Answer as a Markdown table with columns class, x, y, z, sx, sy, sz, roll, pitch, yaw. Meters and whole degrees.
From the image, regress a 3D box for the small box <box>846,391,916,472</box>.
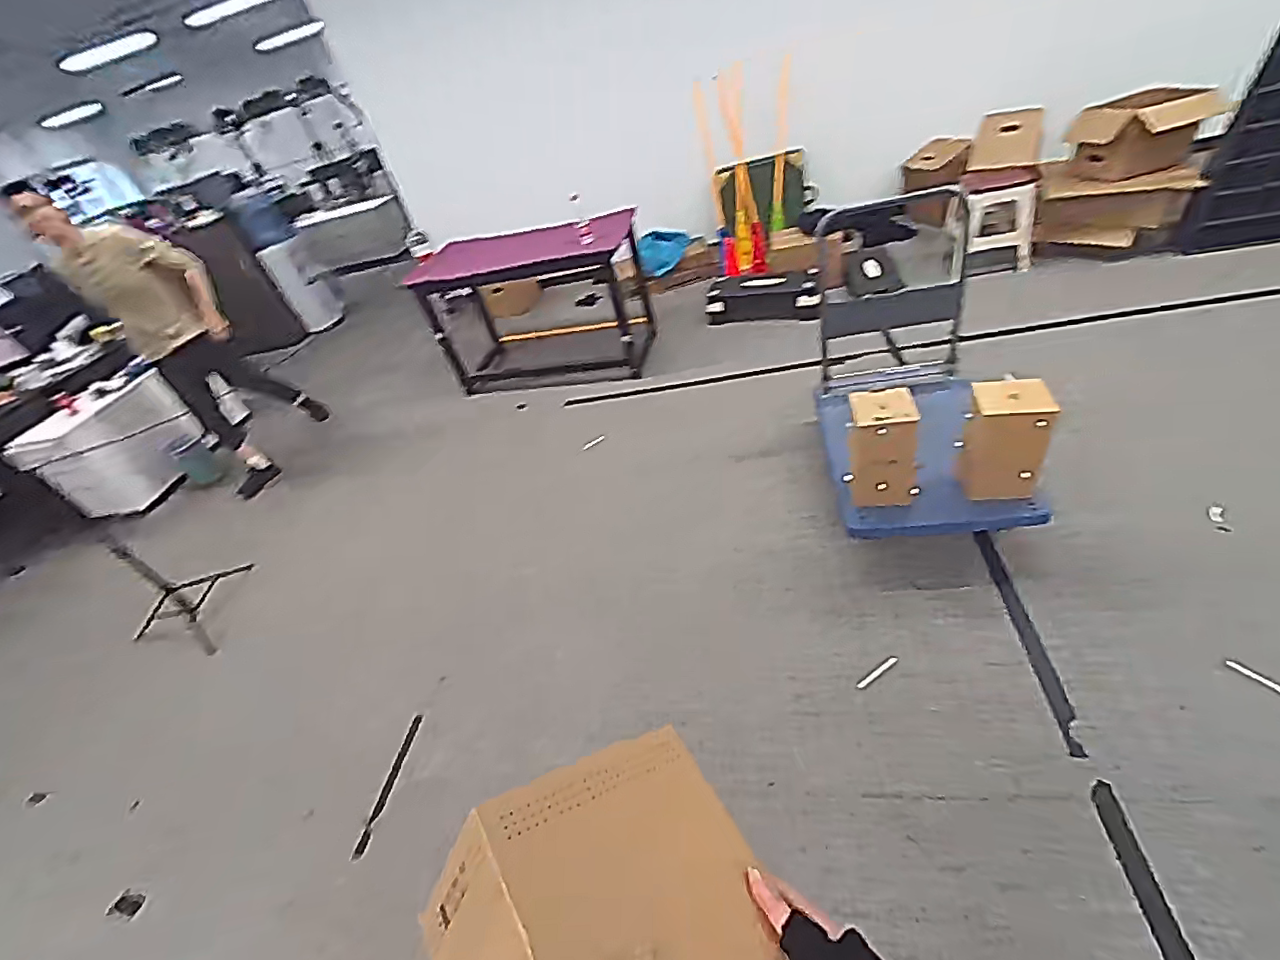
| class | x | y | z | sx | sy | sz | roll | pitch | yaw |
| --- | --- | --- | --- | --- | --- | --- | --- | --- | --- |
| small box | 0.723 | -0.146 | 1.640 | 0.168 | 0.176 | 0.179 | -6 | 39 | 15 |

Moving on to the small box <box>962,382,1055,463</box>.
| class | x | y | z | sx | sy | sz | roll | pitch | yaw |
| --- | --- | --- | --- | --- | --- | --- | --- | --- | --- |
| small box | 1.040 | -0.162 | 1.546 | 0.179 | 0.176 | 0.168 | -2 | 41 | 17 |

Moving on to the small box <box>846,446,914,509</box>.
| class | x | y | z | sx | sy | sz | roll | pitch | yaw |
| --- | --- | --- | --- | --- | --- | --- | --- | --- | --- |
| small box | 0.765 | -0.022 | 1.740 | 0.179 | 0.176 | 0.168 | -4 | 40 | 17 |

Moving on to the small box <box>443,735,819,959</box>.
| class | x | y | z | sx | sy | sz | roll | pitch | yaw |
| --- | --- | --- | --- | --- | --- | --- | --- | --- | --- |
| small box | -0.020 | 0.320 | 0.384 | 0.179 | 0.168 | 0.176 | 1 | 37 | -40 |
